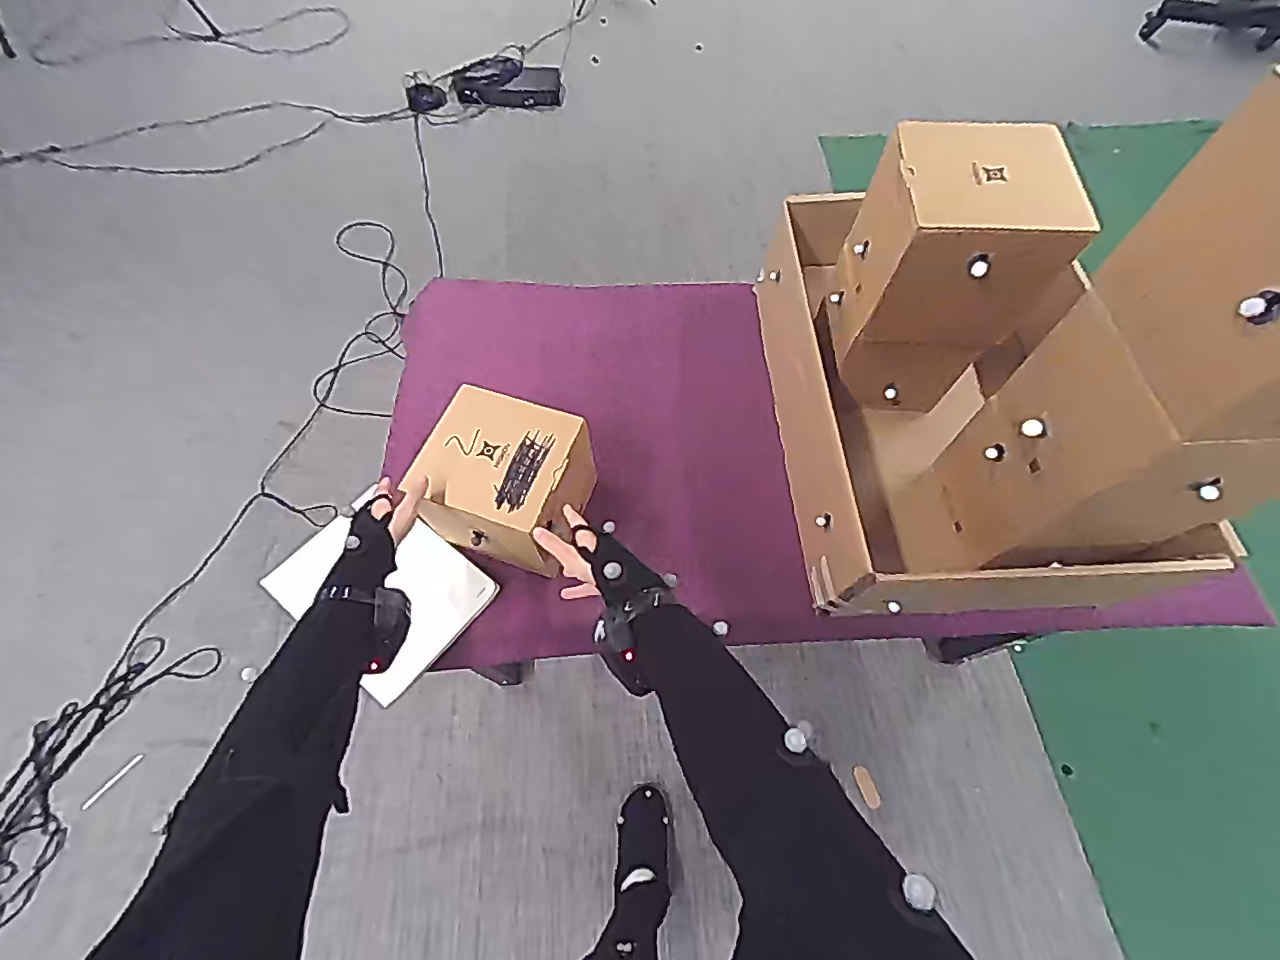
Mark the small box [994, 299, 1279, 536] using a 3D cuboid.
[{"bbox_3d":[0.487,-0.054,0.513,0.179,0.176,0.168,-2,61,3],"label":"small box"}]

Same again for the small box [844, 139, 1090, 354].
[{"bbox_3d":[0.360,-0.264,0.635,0.179,0.176,0.168,2,64,3],"label":"small box"}]

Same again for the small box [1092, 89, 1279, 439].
[{"bbox_3d":[0.479,-0.138,0.374,0.168,0.176,0.179,-1,60,2],"label":"small box"}]
